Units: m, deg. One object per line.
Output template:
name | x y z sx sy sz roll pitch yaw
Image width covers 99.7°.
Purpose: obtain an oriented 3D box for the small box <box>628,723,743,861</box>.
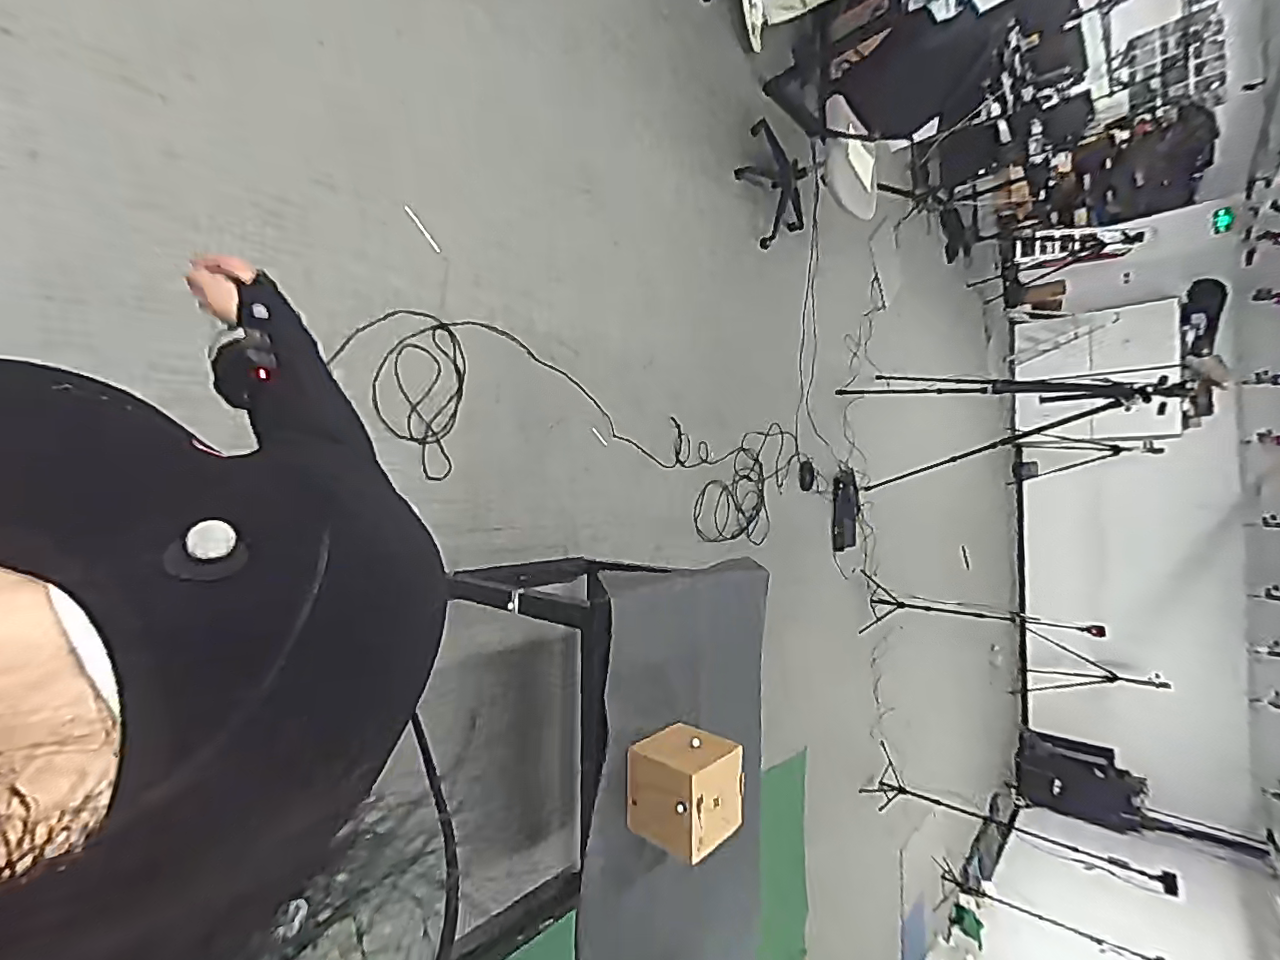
small box | 0.095 0.623 1.110 0.179 0.176 0.168 2 88 -48
